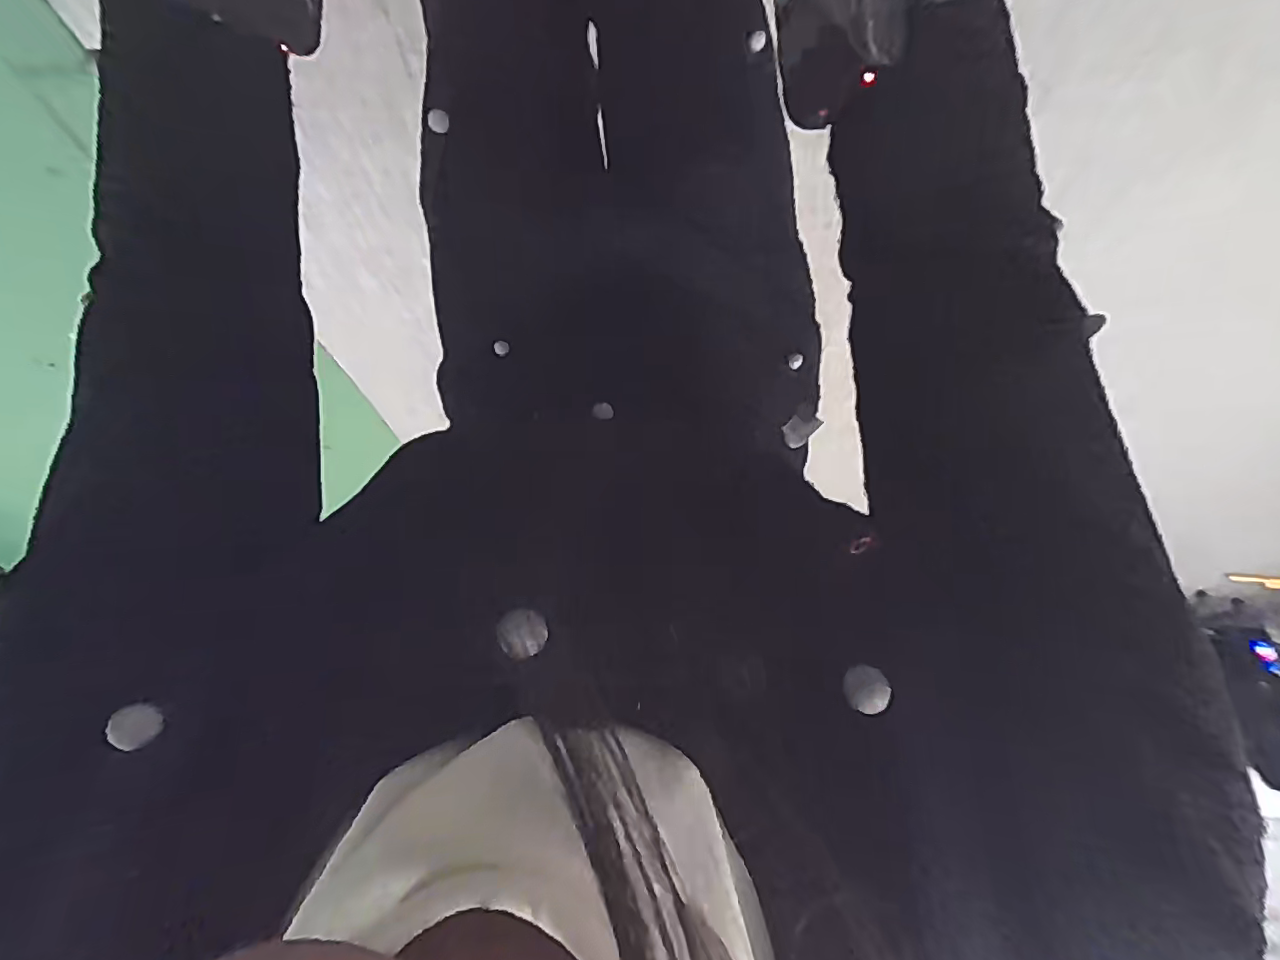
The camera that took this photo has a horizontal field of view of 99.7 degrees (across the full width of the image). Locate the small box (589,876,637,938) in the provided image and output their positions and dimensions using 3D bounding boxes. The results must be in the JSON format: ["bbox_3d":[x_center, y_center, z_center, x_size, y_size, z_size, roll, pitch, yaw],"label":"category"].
[{"bbox_3d":[-0.100,1.625,2.066,0.168,0.176,0.179,-1,149,5],"label":"small box"}]
